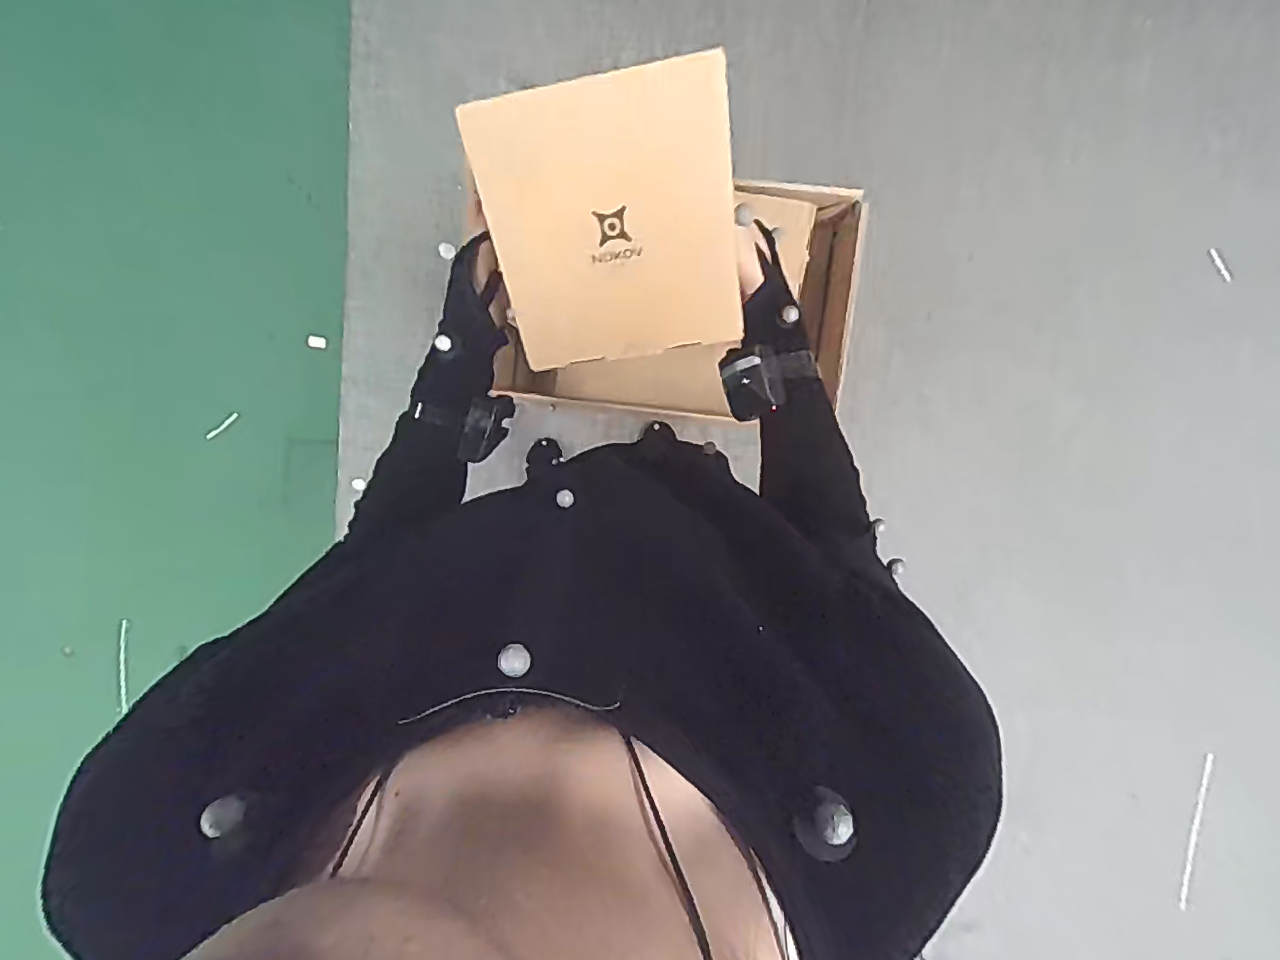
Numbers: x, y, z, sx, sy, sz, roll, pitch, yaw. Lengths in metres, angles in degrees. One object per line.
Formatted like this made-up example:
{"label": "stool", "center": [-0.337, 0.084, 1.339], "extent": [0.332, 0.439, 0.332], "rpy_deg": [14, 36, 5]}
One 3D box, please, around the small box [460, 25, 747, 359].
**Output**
{"label": "small box", "center": [-0.014, -0.215, 0.420], "extent": [0.168, 0.176, 0.179], "rpy_deg": [-7, 123, 6]}

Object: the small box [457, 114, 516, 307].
{"label": "small box", "center": [-0.098, -0.299, 0.636], "extent": [0.179, 0.176, 0.168], "rpy_deg": [5, 96, 2]}
